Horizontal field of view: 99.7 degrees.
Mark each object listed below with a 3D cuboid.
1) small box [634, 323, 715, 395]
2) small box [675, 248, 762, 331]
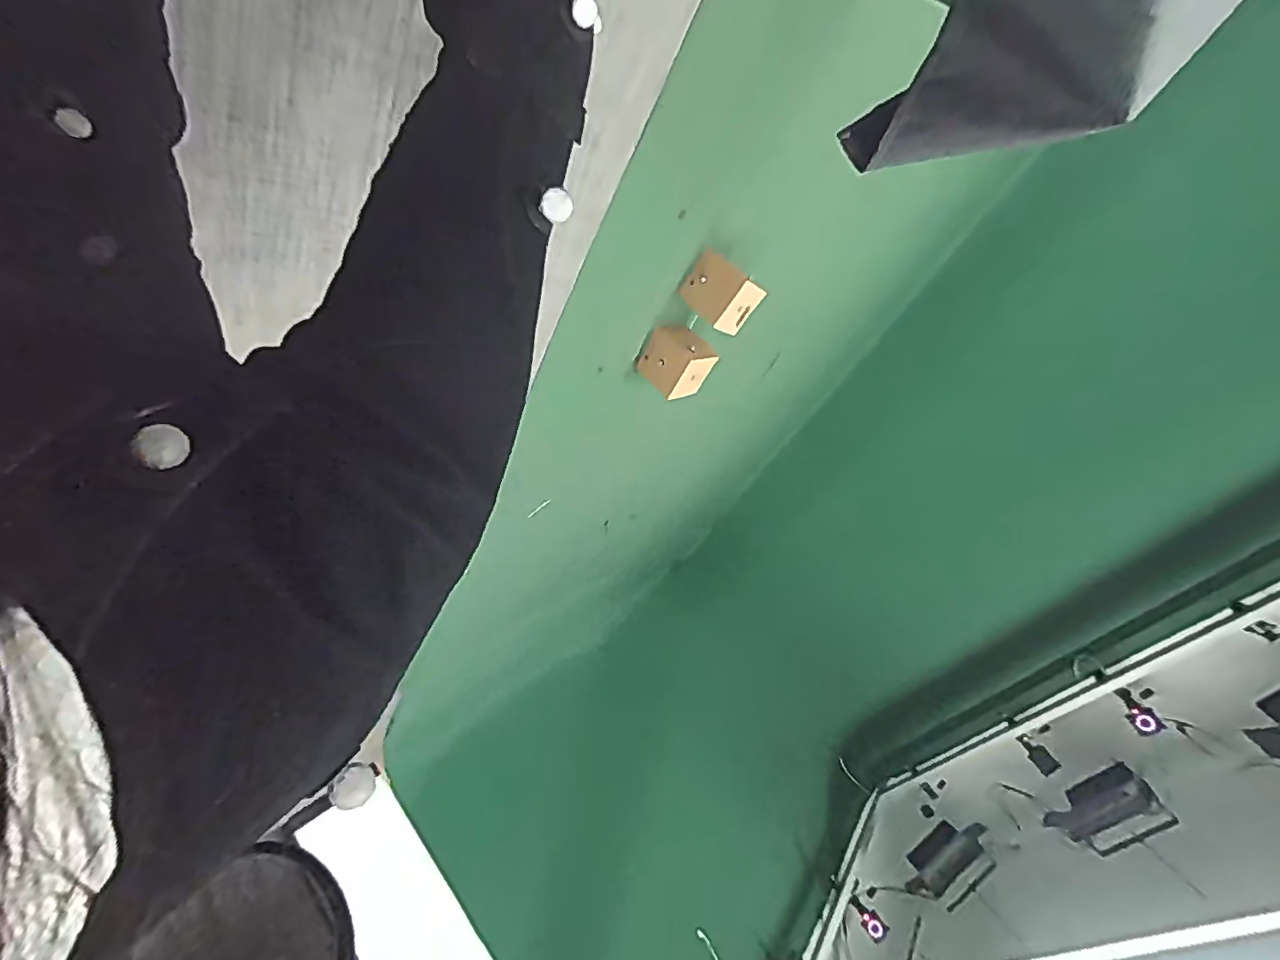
[{"bbox_3d":[0.112,-0.409,1.809,0.179,0.176,0.168,-23,154,-49],"label":"small box"},{"bbox_3d":[0.242,-0.590,1.679,0.168,0.176,0.179,-52,160,24],"label":"small box"}]
